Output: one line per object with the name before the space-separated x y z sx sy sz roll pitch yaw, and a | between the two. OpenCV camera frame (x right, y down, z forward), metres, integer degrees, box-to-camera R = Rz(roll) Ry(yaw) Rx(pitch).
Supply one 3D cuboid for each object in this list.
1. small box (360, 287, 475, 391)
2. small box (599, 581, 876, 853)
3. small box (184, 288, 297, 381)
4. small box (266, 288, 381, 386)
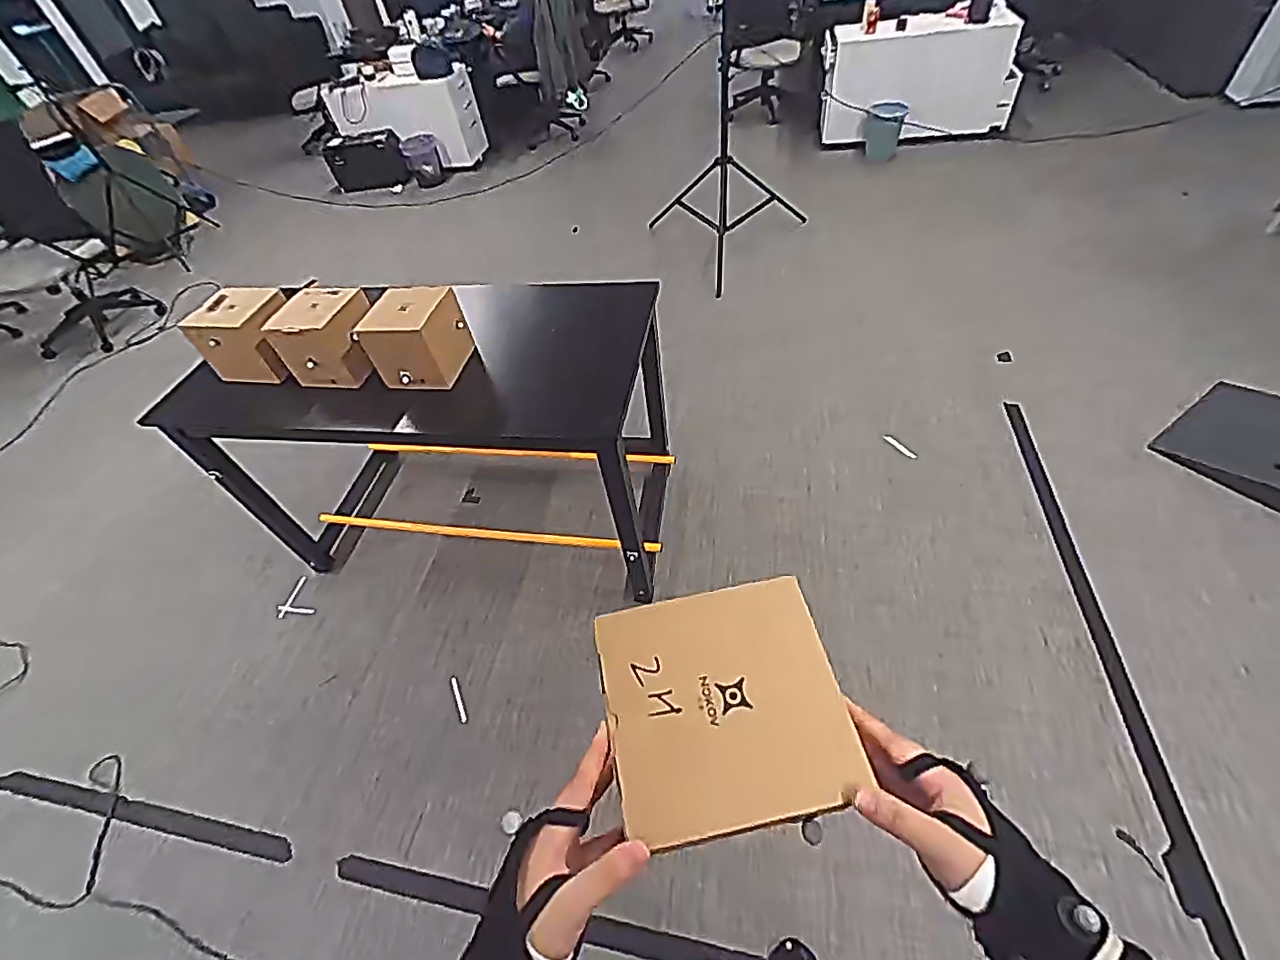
small box | -0.510 -0.332 1.273 0.168 0.176 0.179 2 51 12
small box | 0.068 0.209 0.472 0.179 0.176 0.168 -11 55 -3
small box | -0.970 -0.367 1.366 0.179 0.176 0.168 4 51 11
small box | -0.744 -0.346 1.316 0.168 0.176 0.179 4 51 10
